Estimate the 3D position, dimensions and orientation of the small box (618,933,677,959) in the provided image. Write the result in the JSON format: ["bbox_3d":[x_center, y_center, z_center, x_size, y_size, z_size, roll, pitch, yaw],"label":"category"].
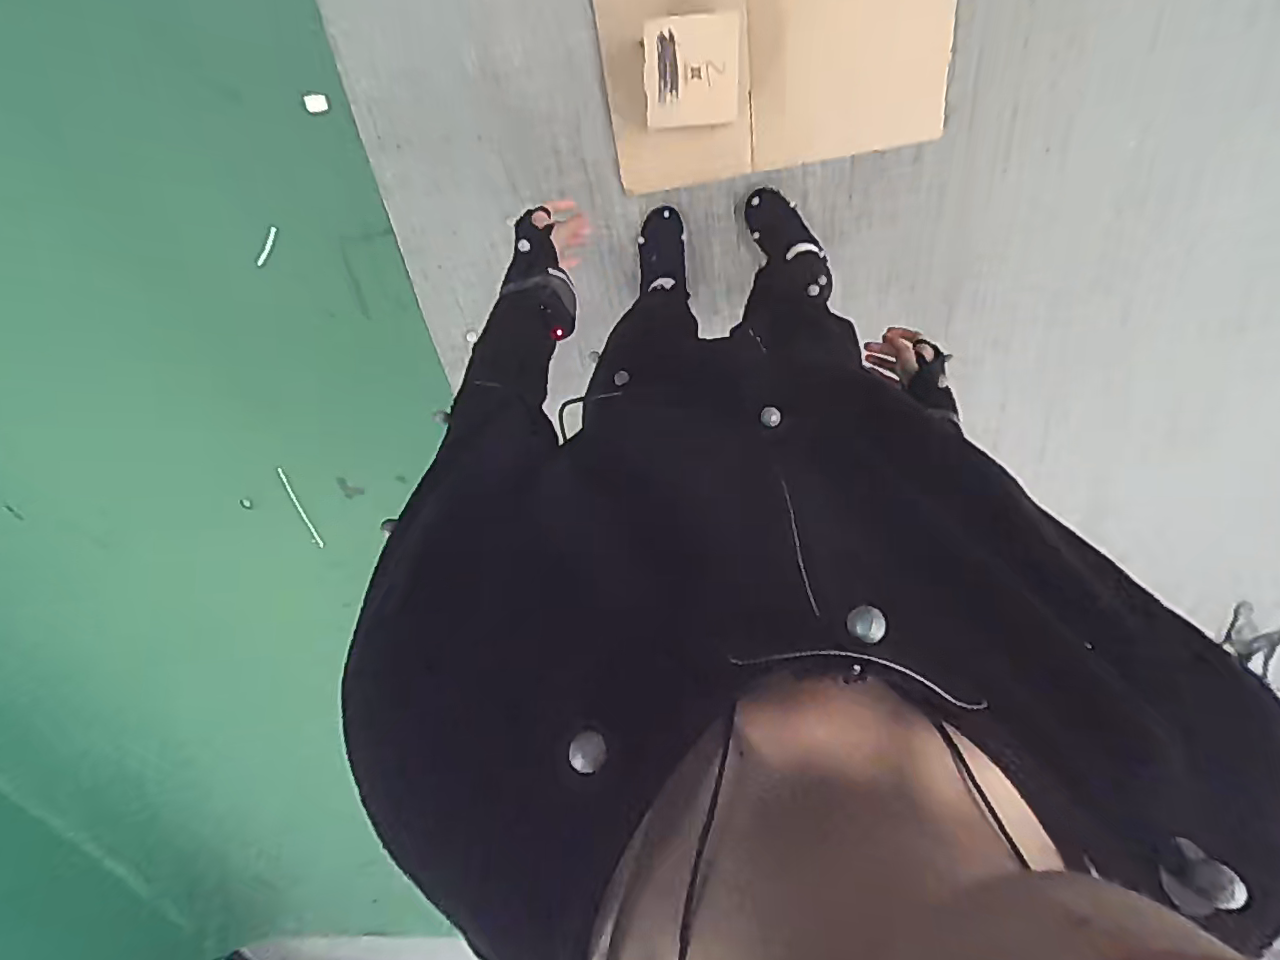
[{"bbox_3d":[0.023,1.444,1.561,0.168,0.176,0.179,-3,122,5],"label":"small box"}]
